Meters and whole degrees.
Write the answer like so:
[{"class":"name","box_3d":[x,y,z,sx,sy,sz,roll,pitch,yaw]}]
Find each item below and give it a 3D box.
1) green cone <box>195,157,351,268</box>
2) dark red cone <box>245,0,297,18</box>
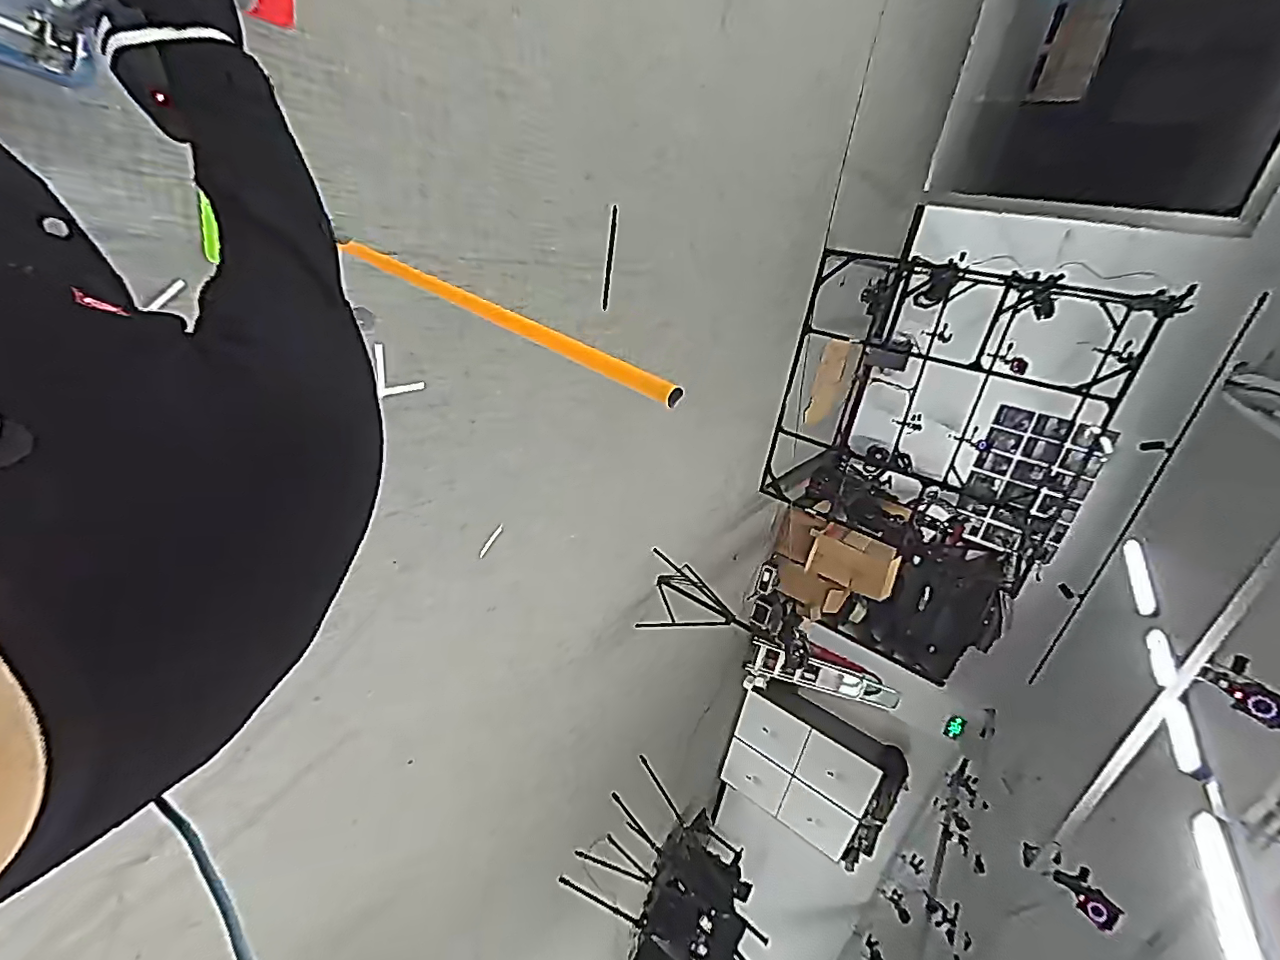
[{"class":"green cone","box_3d":[-0.723,-0.525,1.120,0.202,0.368,0.200,-19,127,-54]},{"class":"dark red cone","box_3d":[-0.622,-0.960,0.930,0.201,0.394,0.202,-25,132,-52]}]
